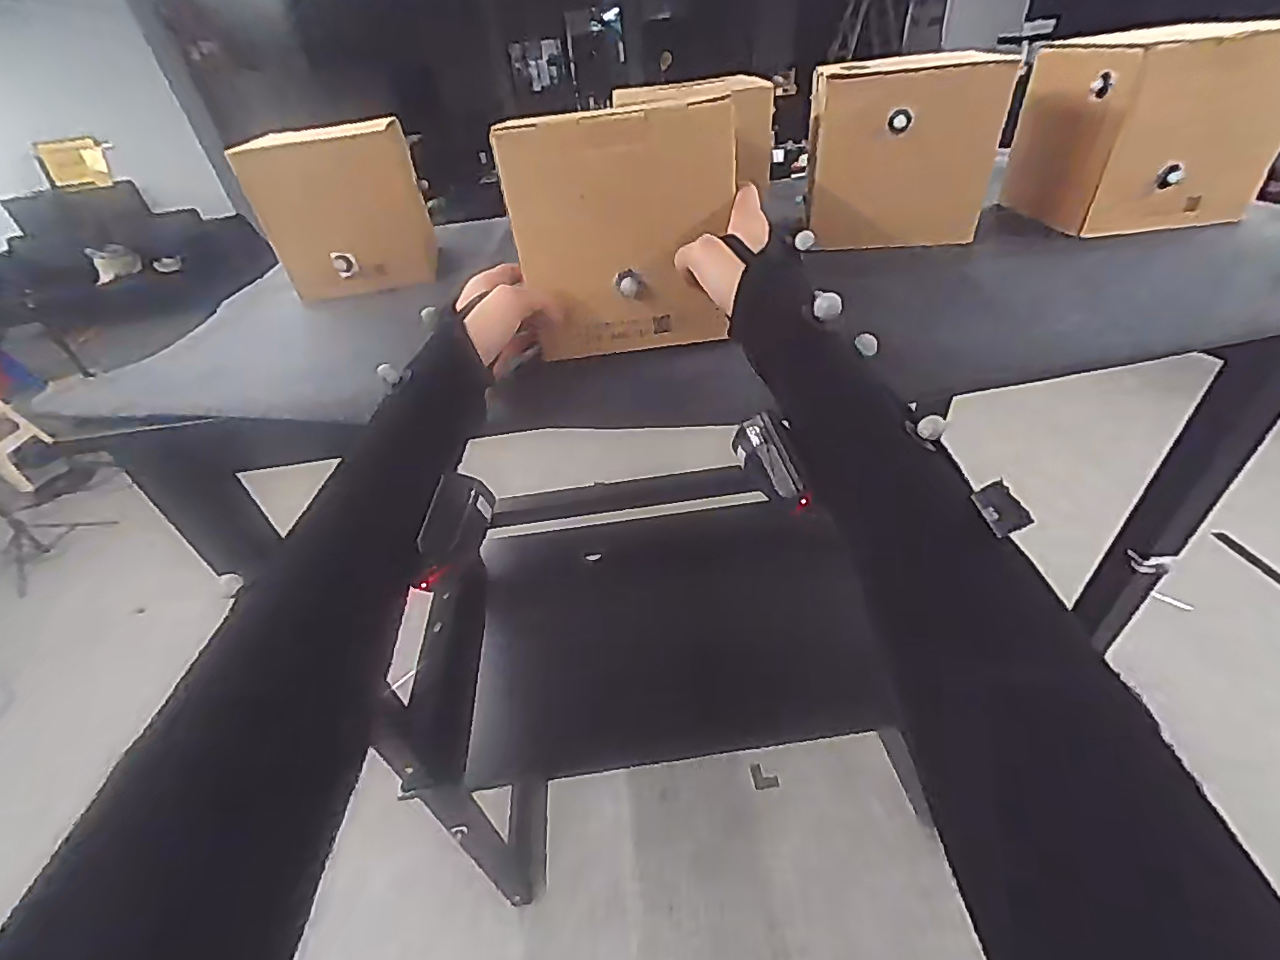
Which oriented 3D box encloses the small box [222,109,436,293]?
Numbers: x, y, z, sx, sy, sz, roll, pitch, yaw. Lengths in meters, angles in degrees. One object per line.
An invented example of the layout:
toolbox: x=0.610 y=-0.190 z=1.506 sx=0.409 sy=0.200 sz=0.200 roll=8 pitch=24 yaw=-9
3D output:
small box: x=-0.368 y=-0.354 z=0.683 sx=0.168 sy=0.176 sz=0.179 roll=-15 pitch=40 yaw=-8

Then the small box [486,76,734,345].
small box: x=-0.015 y=-0.231 z=0.465 sx=0.168 sy=0.176 sz=0.179 roll=-7 pitch=35 yaw=2

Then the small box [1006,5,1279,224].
small box: x=0.536 y=-0.387 z=0.579 sx=0.168 sy=0.176 sz=0.179 roll=-5 pitch=39 yaw=4
